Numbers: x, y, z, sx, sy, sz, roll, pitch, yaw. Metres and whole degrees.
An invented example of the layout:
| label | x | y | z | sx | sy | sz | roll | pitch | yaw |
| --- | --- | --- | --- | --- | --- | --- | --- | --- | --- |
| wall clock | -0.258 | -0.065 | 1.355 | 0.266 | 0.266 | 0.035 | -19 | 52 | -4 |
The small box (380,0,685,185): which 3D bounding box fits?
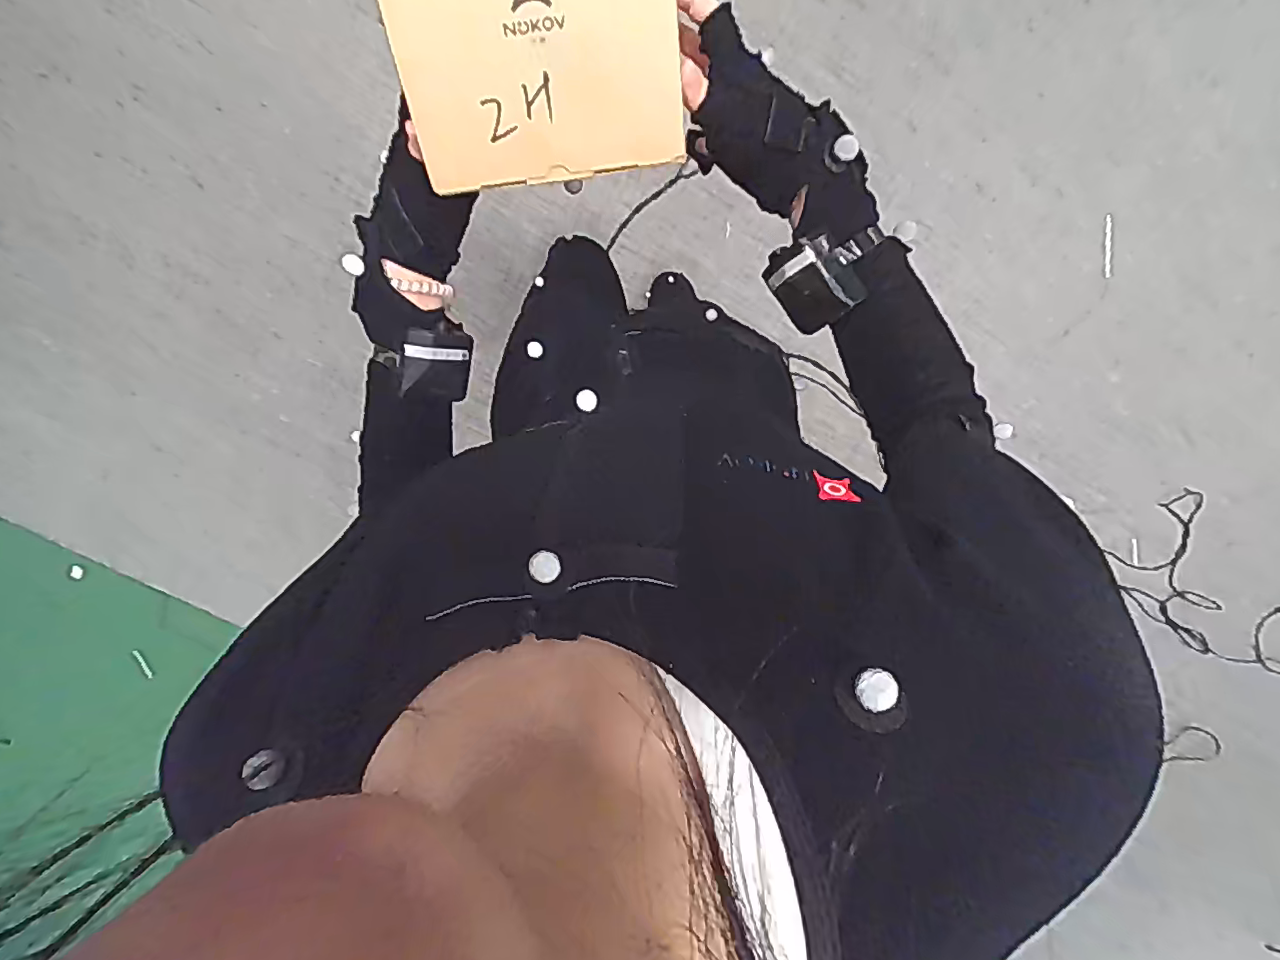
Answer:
| label | x | y | z | sx | sy | sz | roll | pitch | yaw |
| --- | --- | --- | --- | --- | --- | --- | --- | --- | --- |
| small box | -0.064 | -0.308 | 0.362 | 0.168 | 0.176 | 0.179 | -6 | 123 | 2 |
